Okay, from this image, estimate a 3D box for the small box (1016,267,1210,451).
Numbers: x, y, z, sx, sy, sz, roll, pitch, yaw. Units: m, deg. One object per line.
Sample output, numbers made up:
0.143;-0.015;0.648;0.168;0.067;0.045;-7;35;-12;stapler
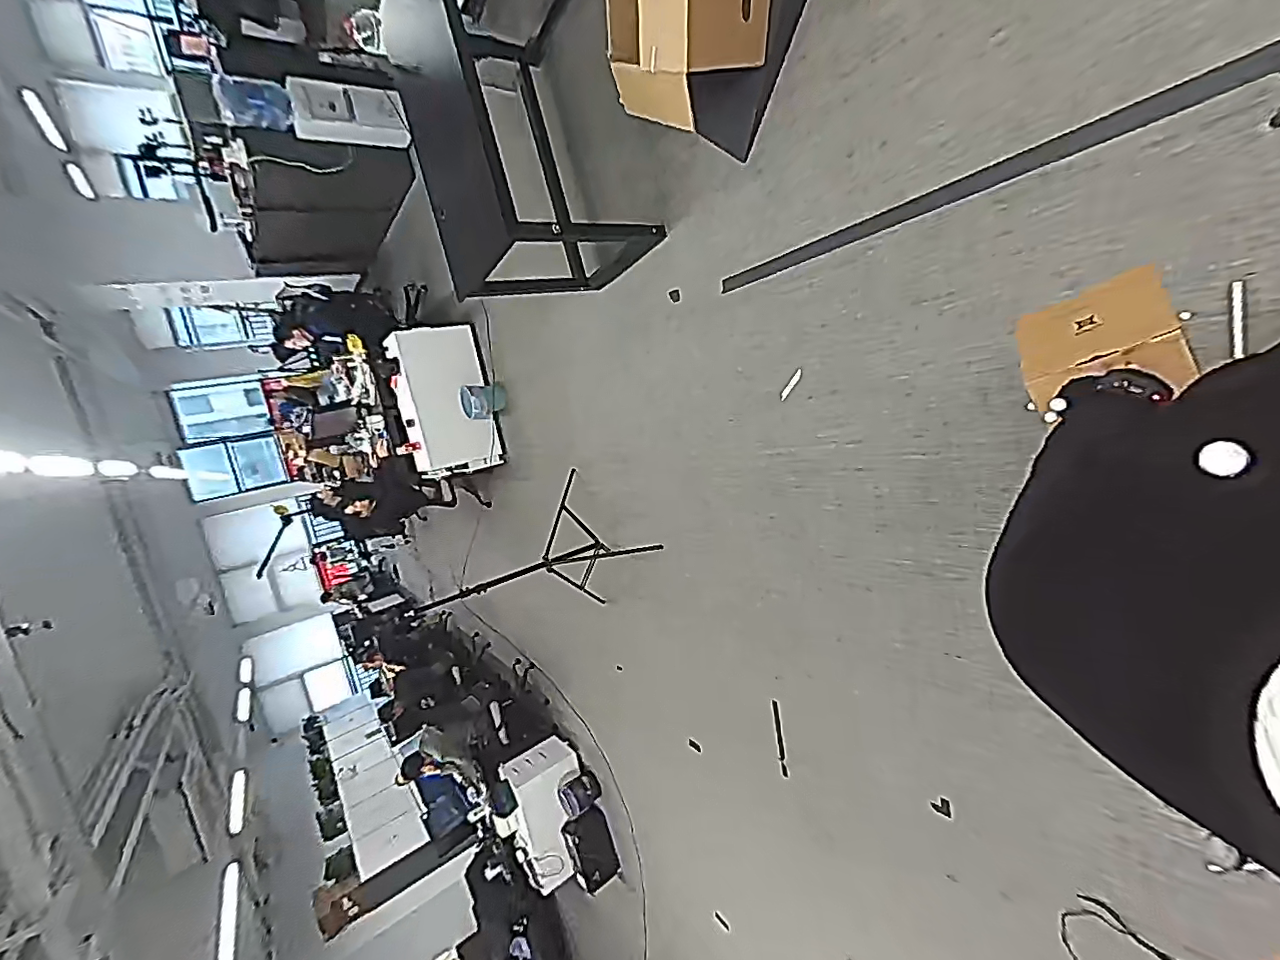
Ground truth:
0.674;-0.162;0.782;0.168;0.179;0.176;-21;121;44;small box
